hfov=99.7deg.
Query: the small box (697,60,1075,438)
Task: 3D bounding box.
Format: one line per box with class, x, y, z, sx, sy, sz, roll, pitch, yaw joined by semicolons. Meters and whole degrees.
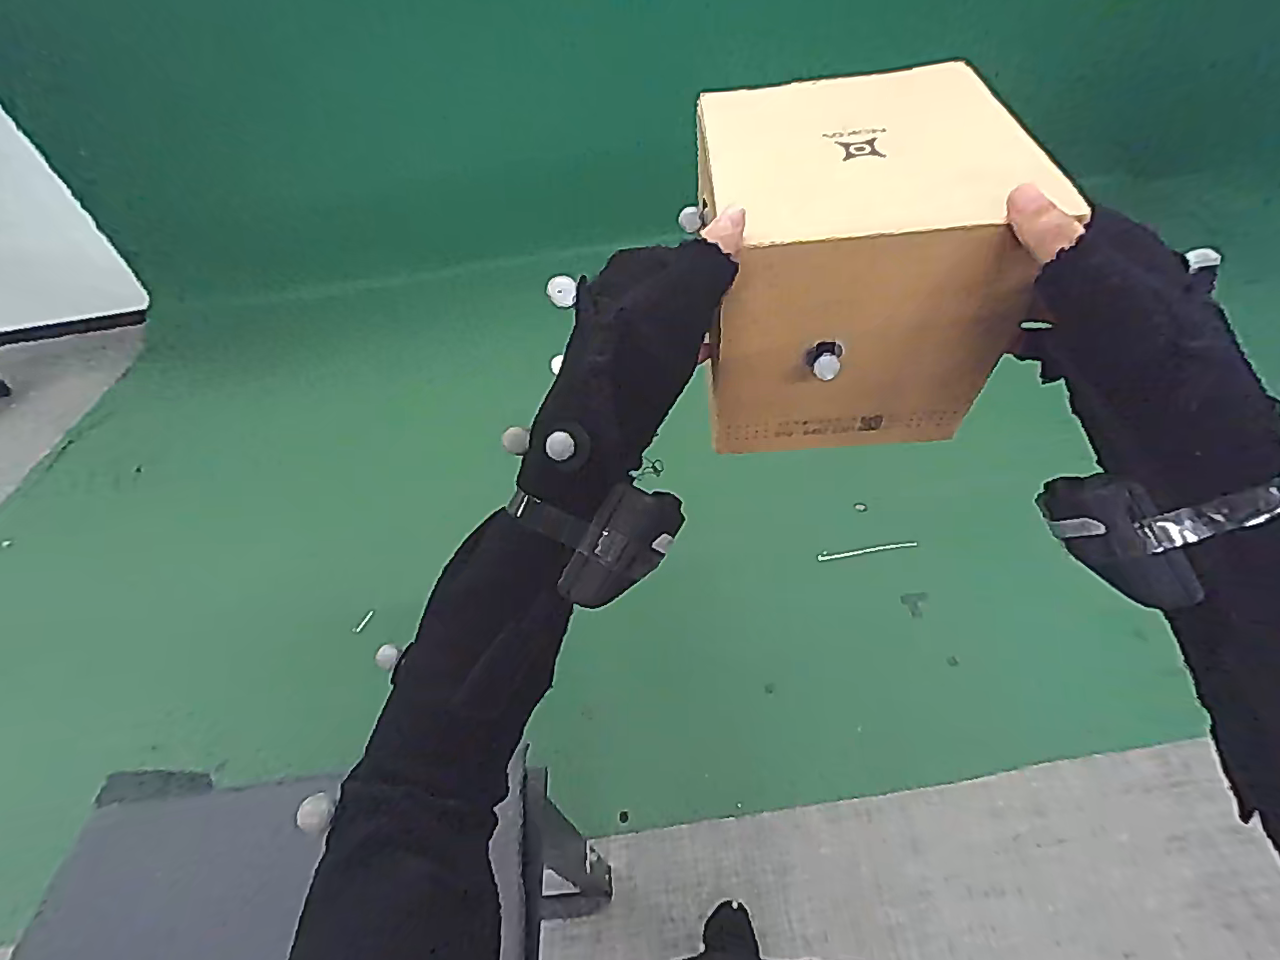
small box;0.128;-0.141;0.364;0.168;0.176;0.179;-4;55;5
